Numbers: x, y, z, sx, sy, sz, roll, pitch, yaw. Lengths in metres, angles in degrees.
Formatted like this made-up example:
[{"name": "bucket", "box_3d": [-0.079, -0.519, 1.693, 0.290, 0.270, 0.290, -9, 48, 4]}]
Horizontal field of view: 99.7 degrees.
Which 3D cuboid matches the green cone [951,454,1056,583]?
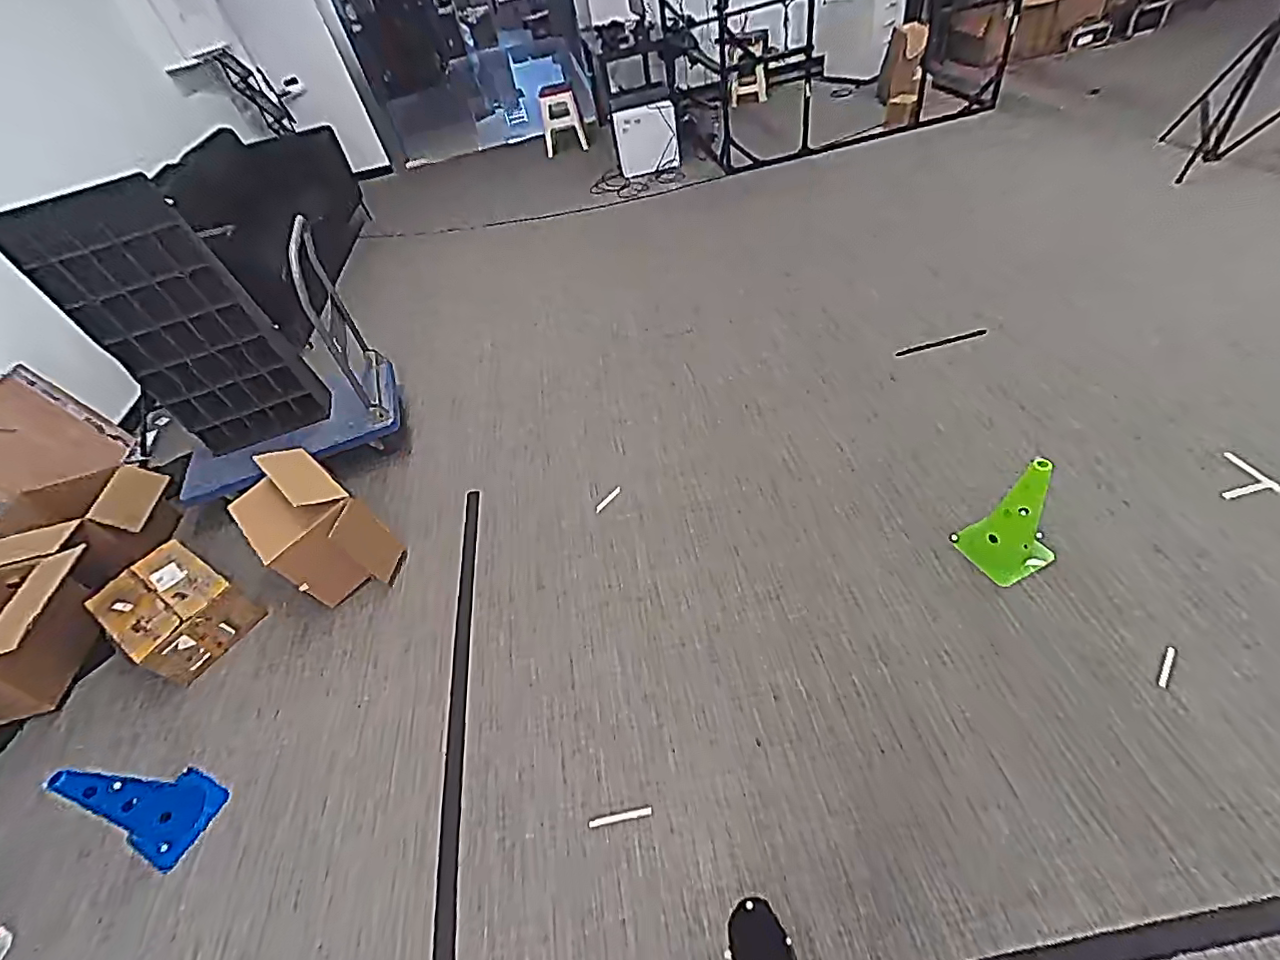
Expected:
[{"name": "green cone", "box_3d": [1.021, 0.076, 1.445, 0.202, 0.368, 0.200, -24, 47, -11]}]
